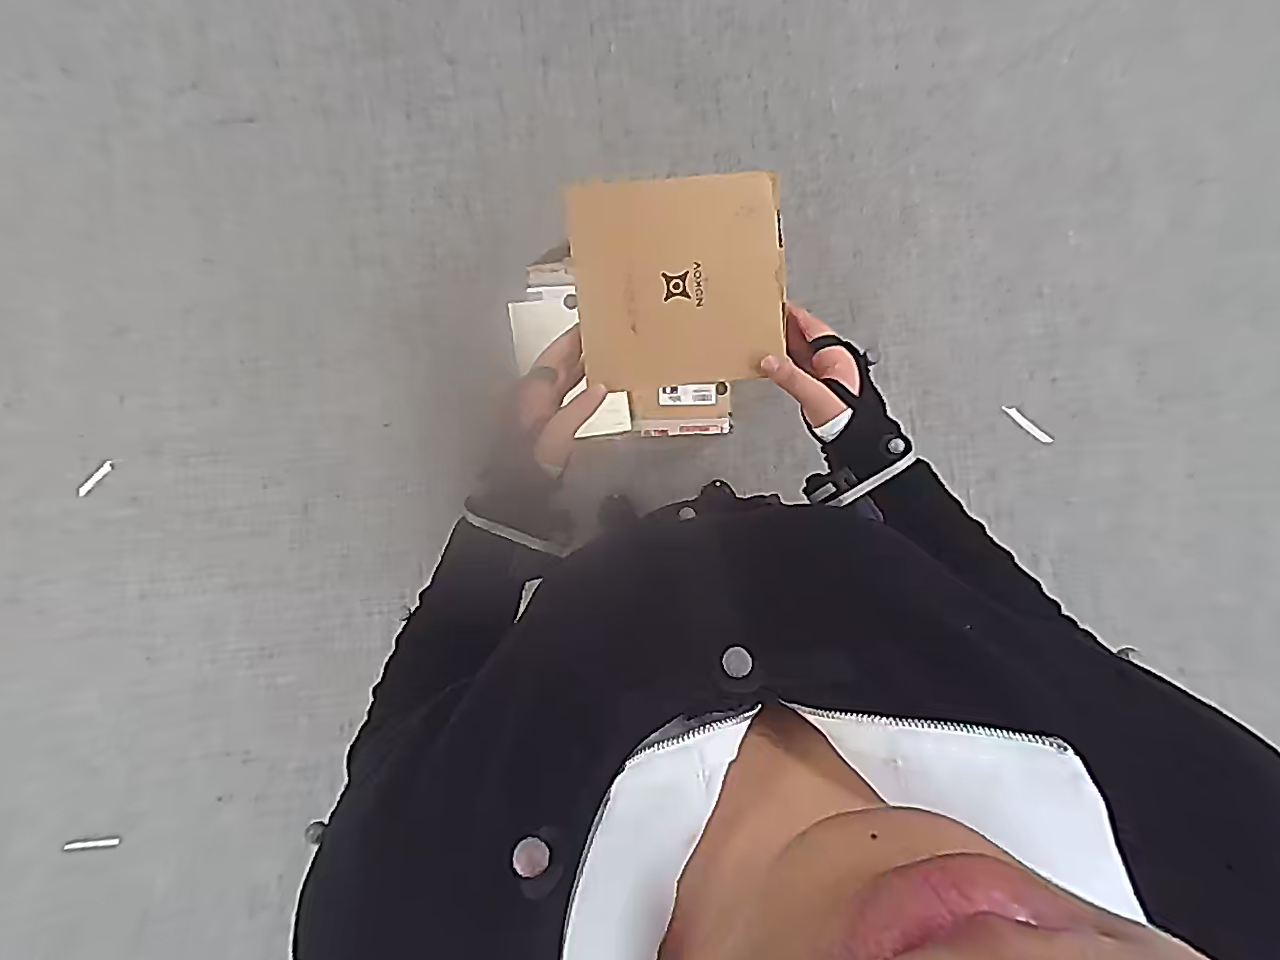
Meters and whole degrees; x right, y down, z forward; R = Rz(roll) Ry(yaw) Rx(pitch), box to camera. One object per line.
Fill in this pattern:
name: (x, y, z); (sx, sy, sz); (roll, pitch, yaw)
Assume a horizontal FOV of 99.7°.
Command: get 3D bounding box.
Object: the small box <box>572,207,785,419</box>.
small box: (0.031, -0.157, 0.546); (0.179, 0.176, 0.168); (-7, 100, -1)
